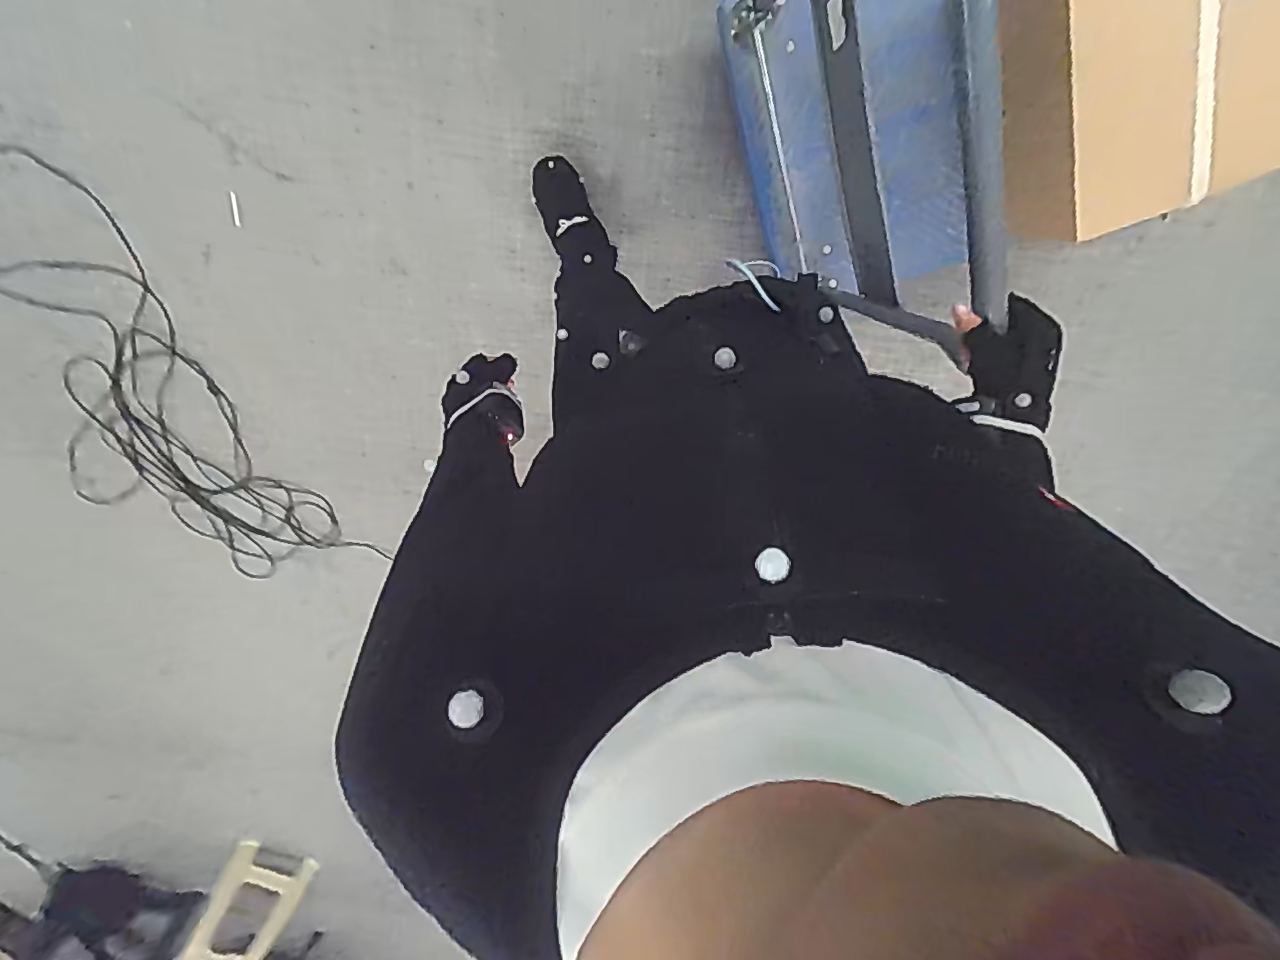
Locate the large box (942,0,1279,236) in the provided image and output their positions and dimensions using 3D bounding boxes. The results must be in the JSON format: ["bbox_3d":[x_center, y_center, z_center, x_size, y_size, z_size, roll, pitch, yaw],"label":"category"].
[{"bbox_3d":[0.726,-0.650,0.852,0.320,0.320,0.408,-19,114,10],"label":"large box"}]
